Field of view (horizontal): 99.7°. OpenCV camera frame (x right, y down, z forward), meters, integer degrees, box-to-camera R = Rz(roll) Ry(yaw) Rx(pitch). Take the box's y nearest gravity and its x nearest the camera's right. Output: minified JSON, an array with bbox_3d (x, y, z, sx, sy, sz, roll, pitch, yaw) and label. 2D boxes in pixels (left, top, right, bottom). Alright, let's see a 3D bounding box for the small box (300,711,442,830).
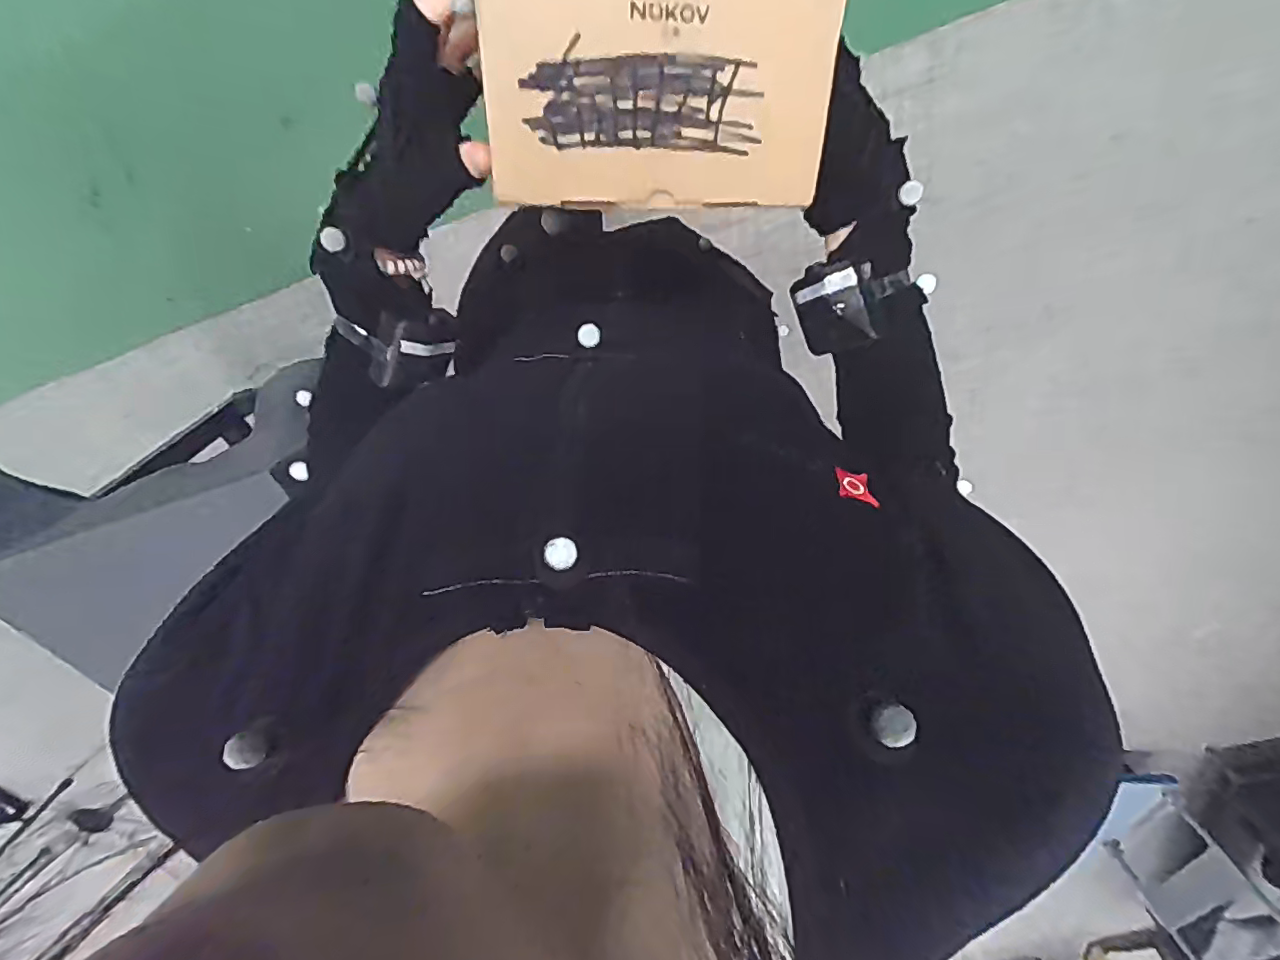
[{"bbox_3d":[-0.518,0.589,1.079,0.179,0.176,0.168,-17,122,10],"label":"small box"}]
